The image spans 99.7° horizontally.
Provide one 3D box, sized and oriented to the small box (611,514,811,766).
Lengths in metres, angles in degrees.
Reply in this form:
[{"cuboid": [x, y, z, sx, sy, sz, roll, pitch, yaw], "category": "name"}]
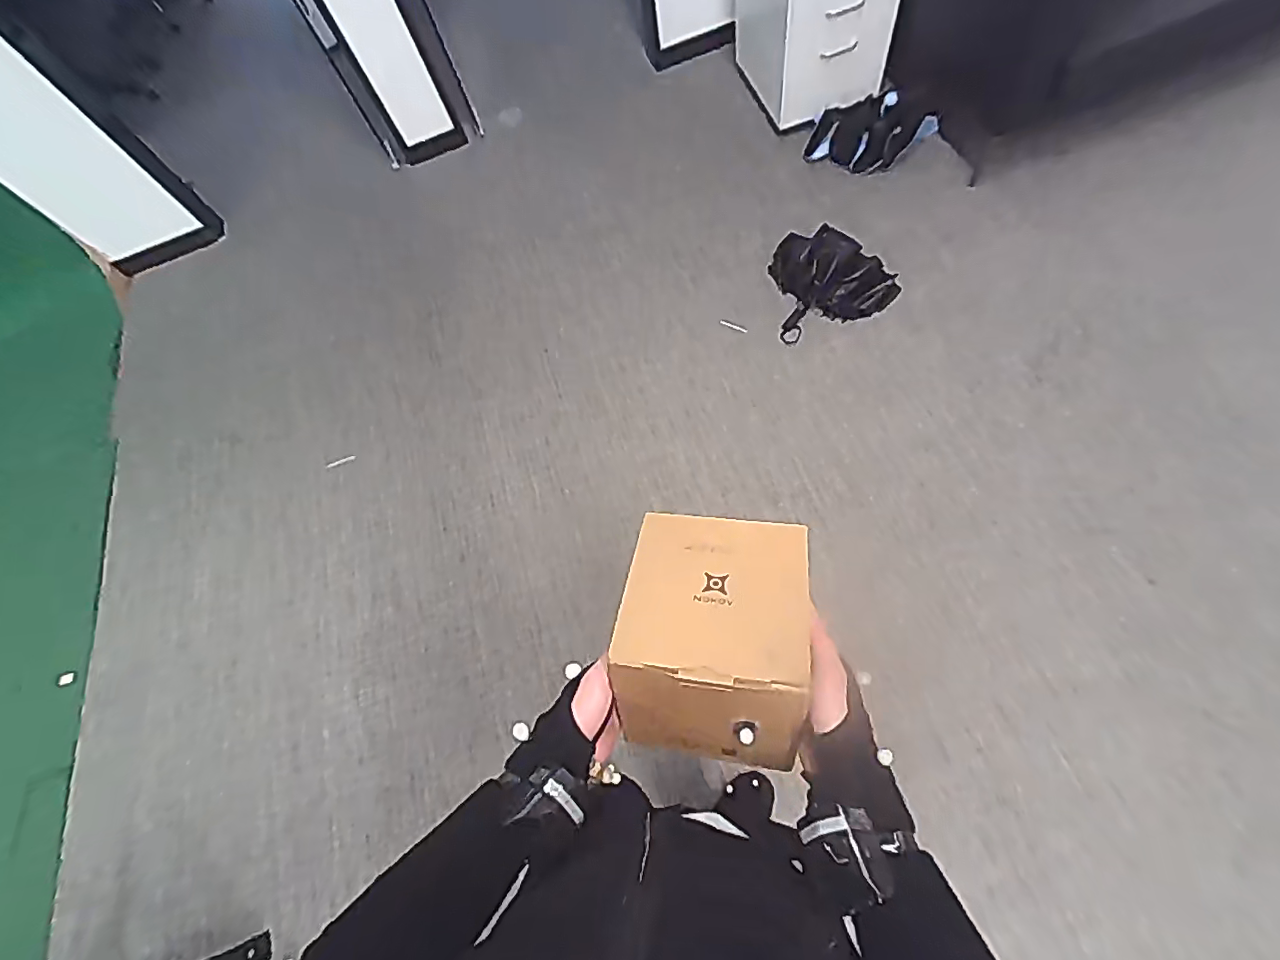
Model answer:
[{"cuboid": [0.076, 0.159, 0.546, 0.168, 0.176, 0.179, 5, 41, 10], "category": "small box"}]
